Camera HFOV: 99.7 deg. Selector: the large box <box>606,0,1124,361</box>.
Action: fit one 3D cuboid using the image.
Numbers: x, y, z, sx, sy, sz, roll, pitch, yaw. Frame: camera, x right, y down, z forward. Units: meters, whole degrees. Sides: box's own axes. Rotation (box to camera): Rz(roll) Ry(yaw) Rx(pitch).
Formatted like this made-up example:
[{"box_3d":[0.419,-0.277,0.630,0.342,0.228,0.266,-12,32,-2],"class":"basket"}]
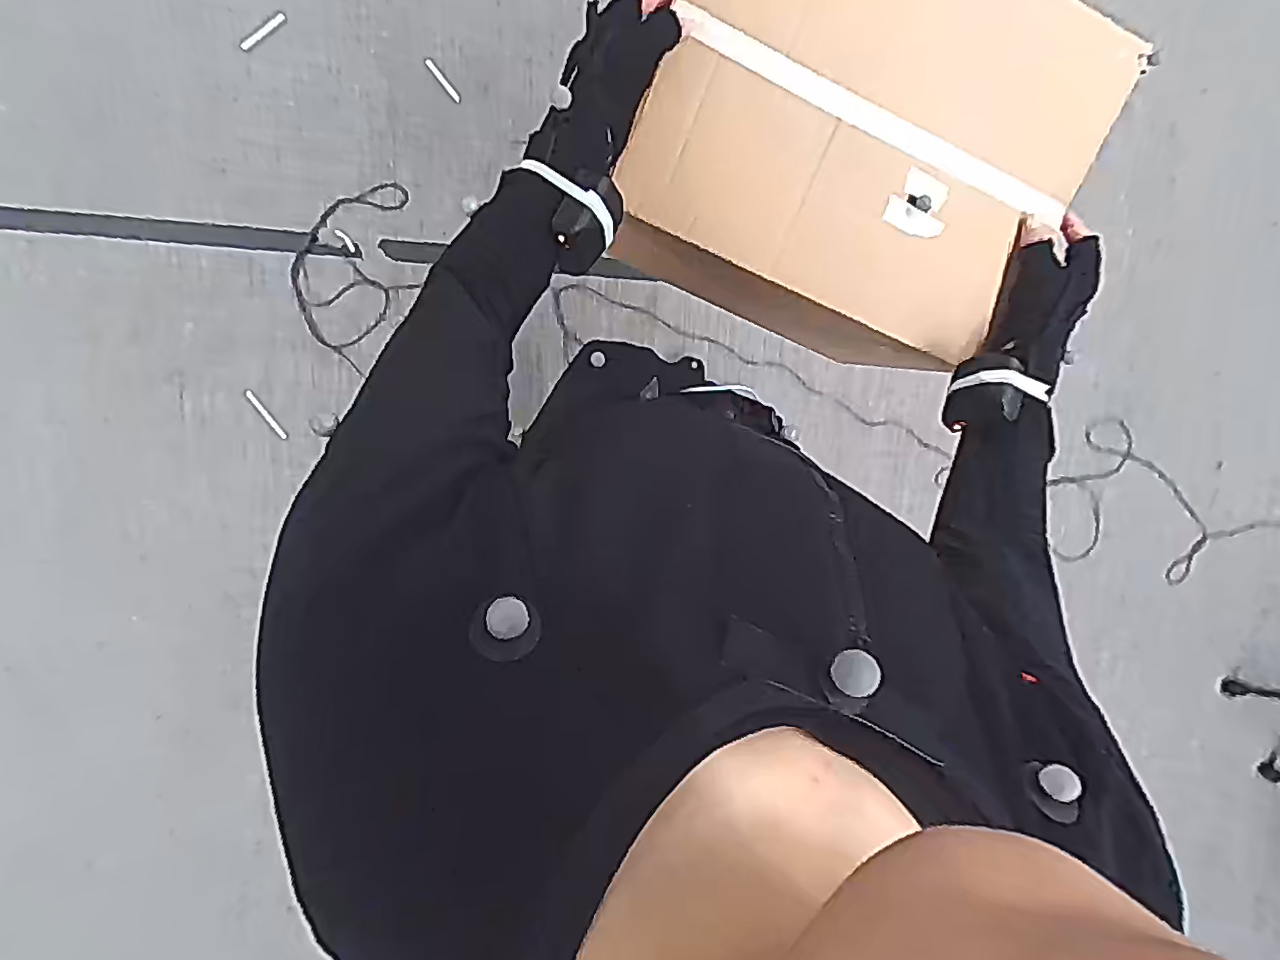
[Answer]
[{"box_3d":[0.199,-0.364,0.643,0.408,0.320,0.320,21,103,-10],"class":"large box"}]
